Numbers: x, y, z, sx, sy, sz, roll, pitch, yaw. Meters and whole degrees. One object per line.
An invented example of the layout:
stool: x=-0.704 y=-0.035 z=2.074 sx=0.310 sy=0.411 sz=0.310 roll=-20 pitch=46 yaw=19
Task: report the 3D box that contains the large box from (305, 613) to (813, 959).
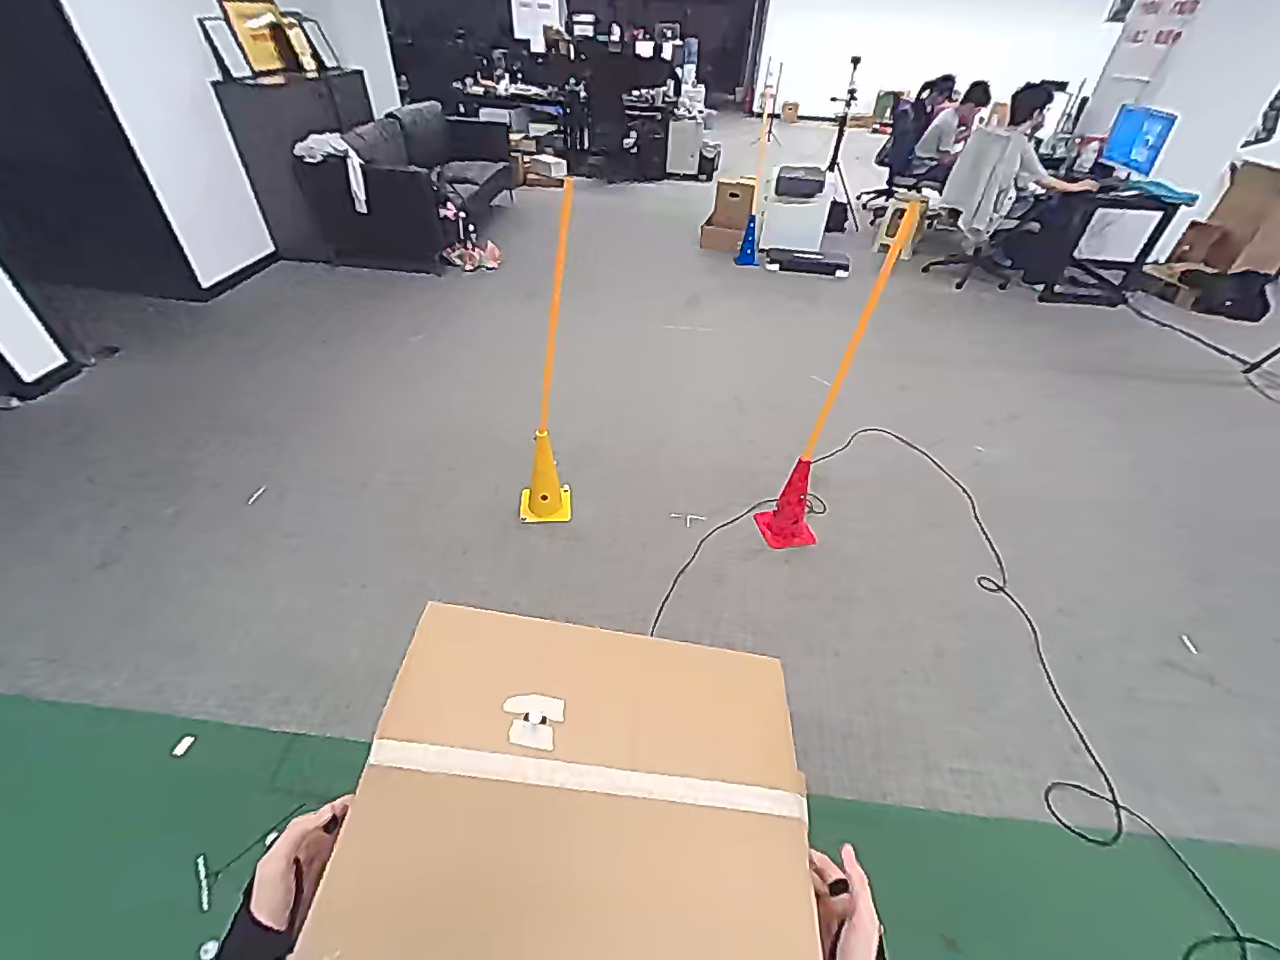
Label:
large box: x=-0.070 y=0.387 z=0.615 sx=0.408 sy=0.320 sz=0.320 roll=10 pitch=45 yaw=-5
